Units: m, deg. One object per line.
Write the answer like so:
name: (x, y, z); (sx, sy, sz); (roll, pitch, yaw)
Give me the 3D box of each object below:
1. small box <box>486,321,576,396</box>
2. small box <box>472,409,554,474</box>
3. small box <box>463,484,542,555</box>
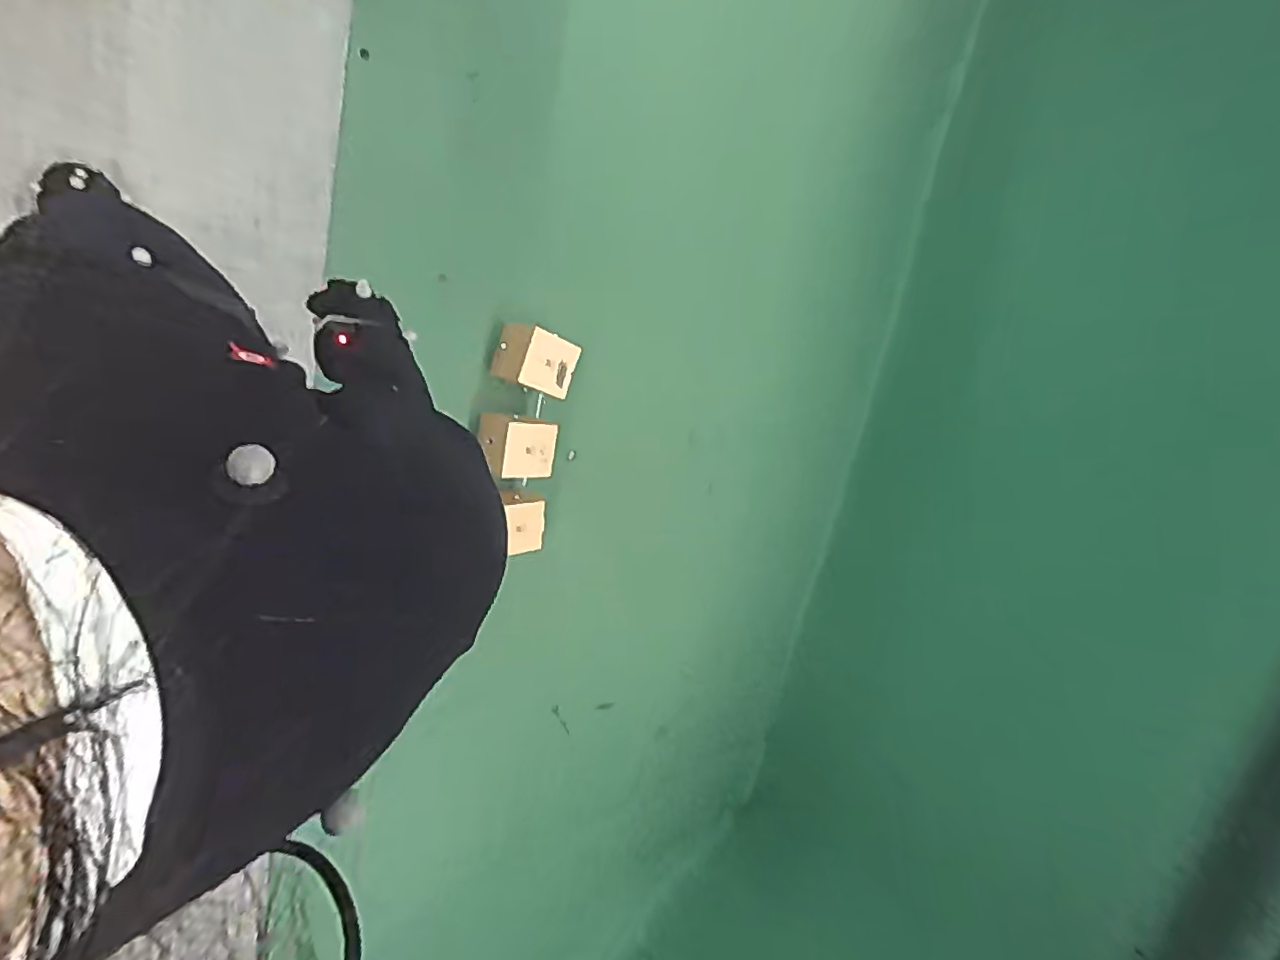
small box: (-0.328, -0.366, 1.621); (0.179, 0.176, 0.168); (16, 94, -47)
small box: (-0.393, -0.119, 1.657); (0.179, 0.176, 0.168); (-2, 109, -46)
small box: (-0.438, 0.118, 1.716); (0.179, 0.176, 0.168); (-7, 111, -45)
